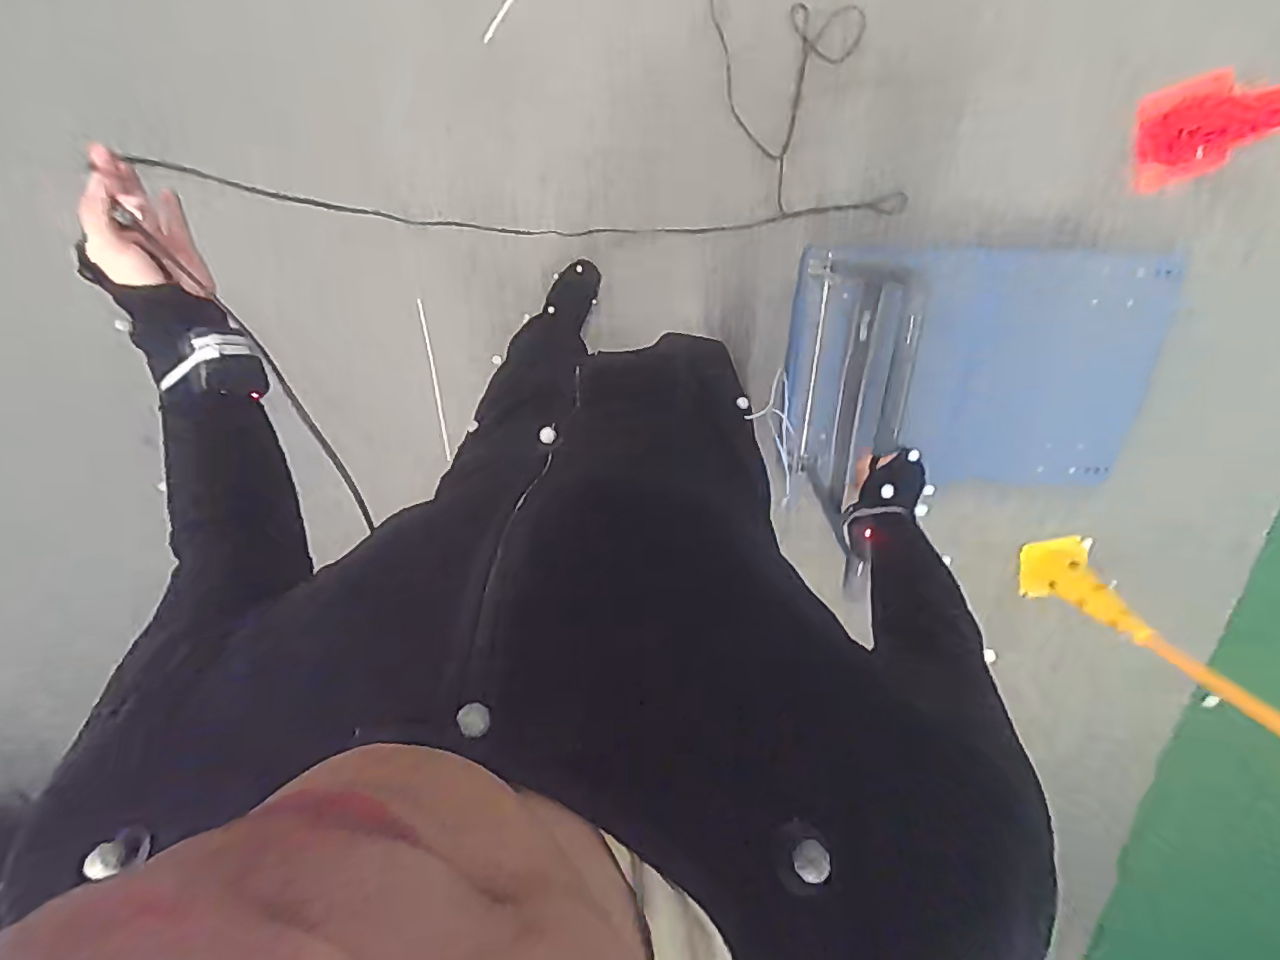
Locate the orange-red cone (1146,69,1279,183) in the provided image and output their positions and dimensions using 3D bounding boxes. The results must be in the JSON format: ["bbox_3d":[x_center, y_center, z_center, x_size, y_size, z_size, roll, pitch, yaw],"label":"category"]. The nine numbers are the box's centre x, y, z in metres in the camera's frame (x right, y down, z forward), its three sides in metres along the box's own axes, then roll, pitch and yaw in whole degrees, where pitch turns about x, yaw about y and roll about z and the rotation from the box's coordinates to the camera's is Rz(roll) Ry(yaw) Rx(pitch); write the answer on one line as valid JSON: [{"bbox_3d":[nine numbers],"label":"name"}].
[{"bbox_3d":[1.282,-0.759,1.101,0.198,0.360,0.199,-15,109,8],"label":"orange-red cone"}]
